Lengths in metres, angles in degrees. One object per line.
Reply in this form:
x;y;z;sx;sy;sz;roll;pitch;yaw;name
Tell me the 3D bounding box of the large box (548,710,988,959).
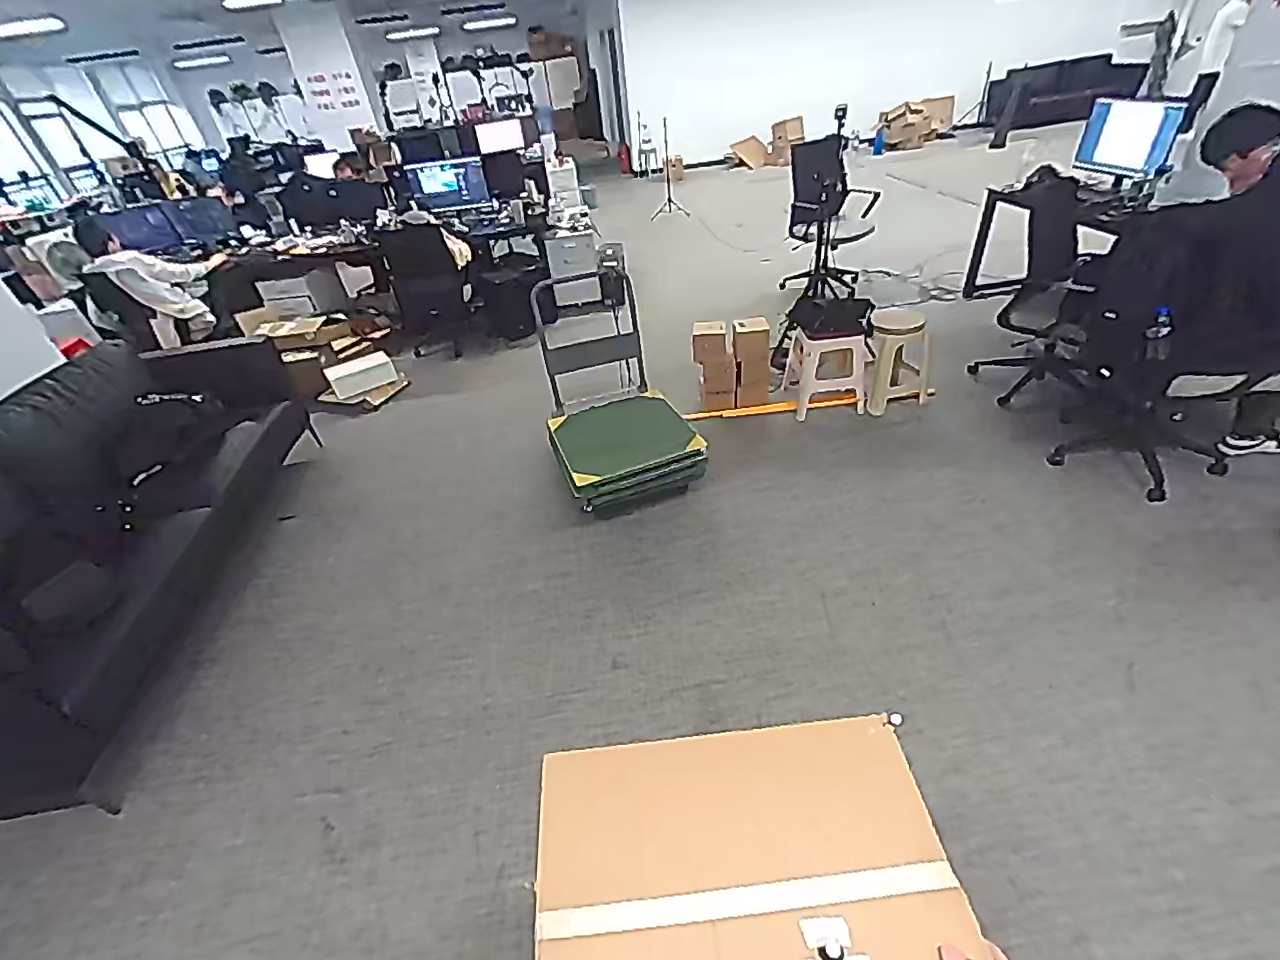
0.116;0.510;0.630;0.408;0.320;0.320;-7;45;-1;large box
